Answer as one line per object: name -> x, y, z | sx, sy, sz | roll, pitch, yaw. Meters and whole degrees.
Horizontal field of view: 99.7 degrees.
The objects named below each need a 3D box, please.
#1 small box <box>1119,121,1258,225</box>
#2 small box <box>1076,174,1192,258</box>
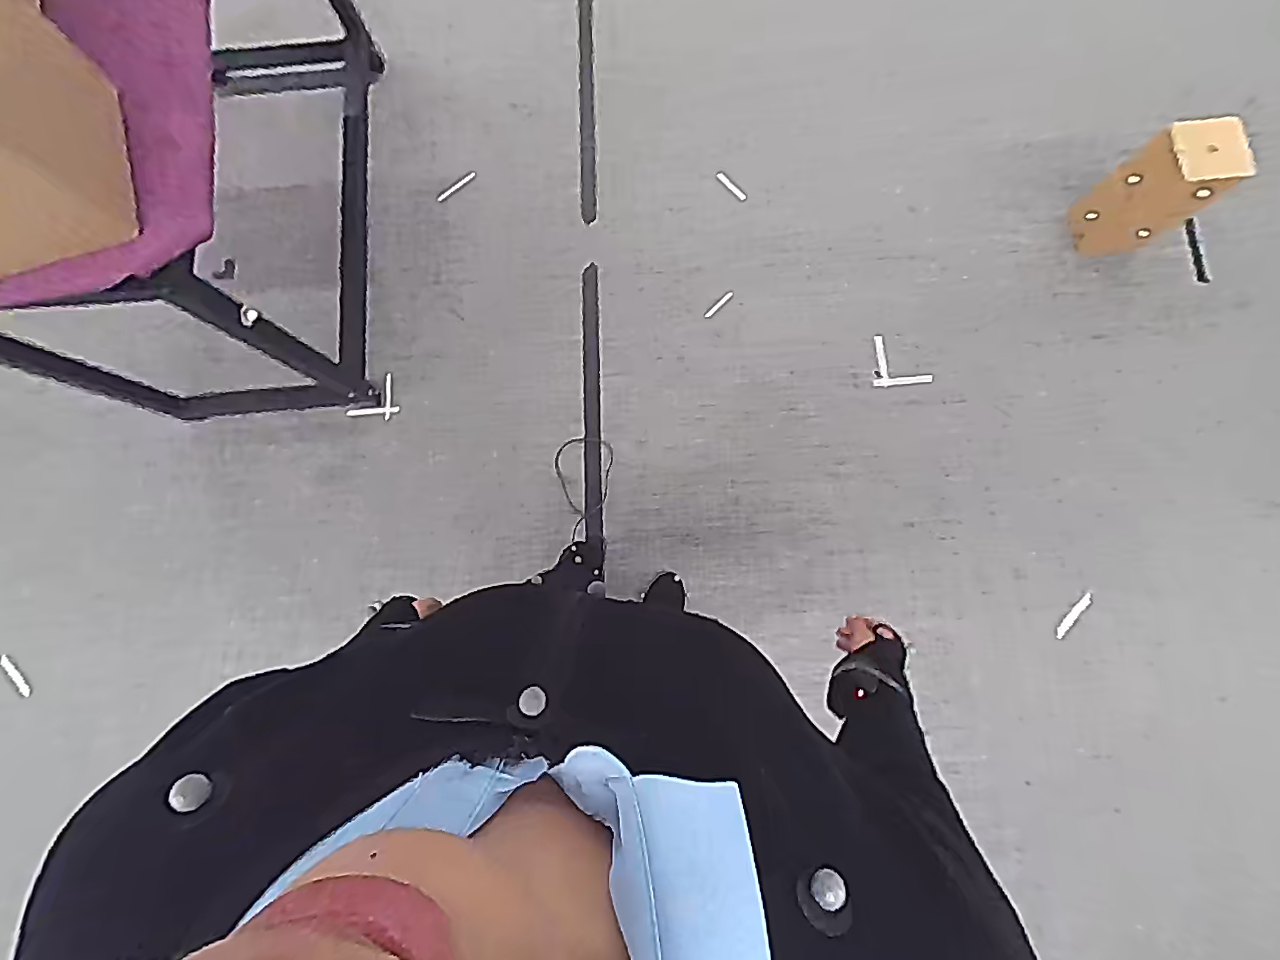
small box -> 1.412, -0.790, 1.404 | 0.179, 0.176, 0.168 | -5, 81, 1
small box -> 1.413, -0.765, 1.565 | 0.179, 0.176, 0.168 | -6, 82, -1
